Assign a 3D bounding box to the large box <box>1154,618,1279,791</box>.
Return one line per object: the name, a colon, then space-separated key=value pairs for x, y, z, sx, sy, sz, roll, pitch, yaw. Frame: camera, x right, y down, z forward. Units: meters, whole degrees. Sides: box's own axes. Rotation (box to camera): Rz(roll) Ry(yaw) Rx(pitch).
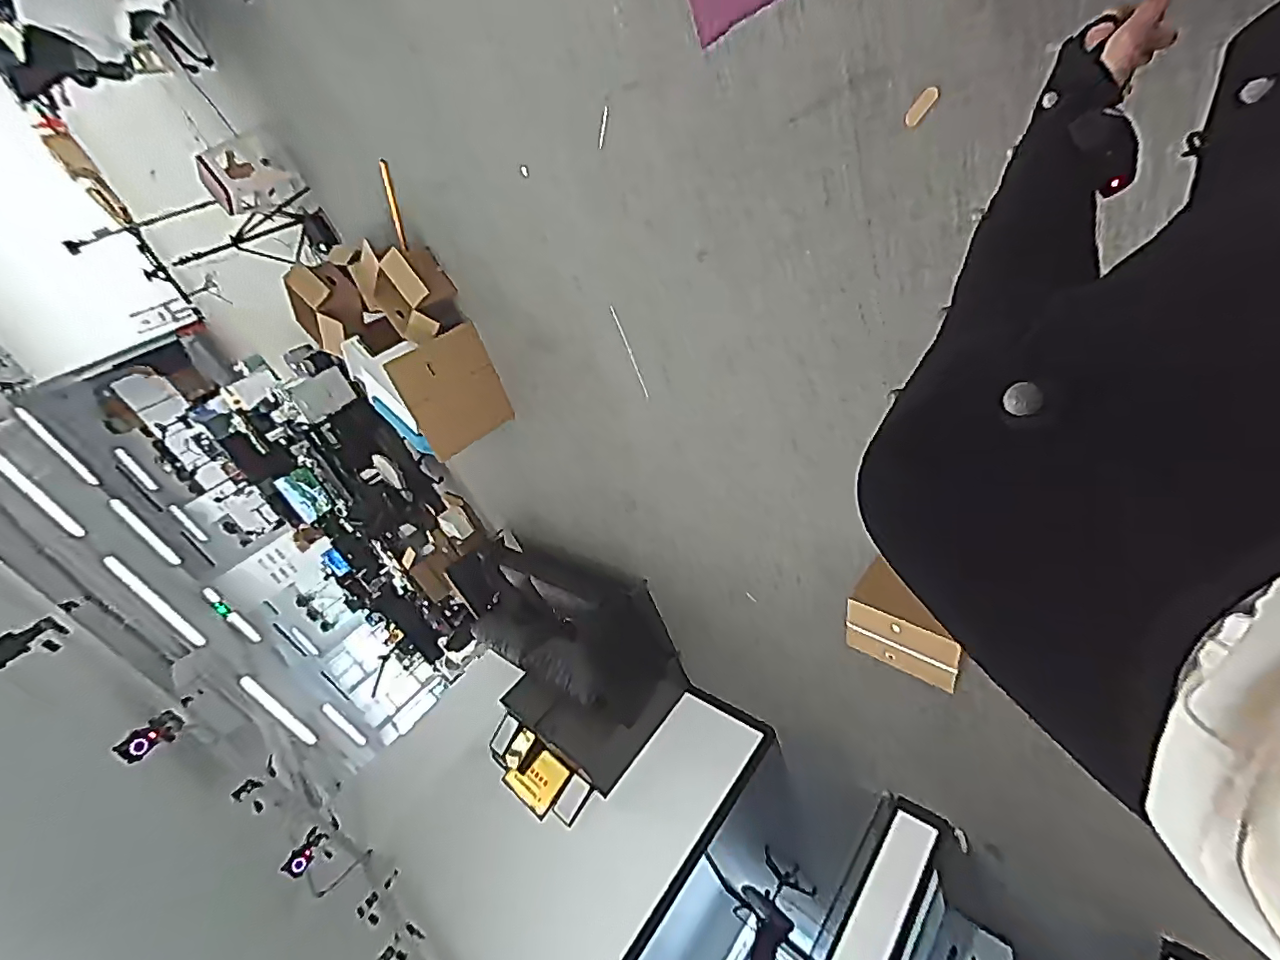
large box: x=1.695 y=0.582 z=1.412 sx=0.320 sy=0.320 sz=0.408 roll=47 pitch=148 yaw=-1
